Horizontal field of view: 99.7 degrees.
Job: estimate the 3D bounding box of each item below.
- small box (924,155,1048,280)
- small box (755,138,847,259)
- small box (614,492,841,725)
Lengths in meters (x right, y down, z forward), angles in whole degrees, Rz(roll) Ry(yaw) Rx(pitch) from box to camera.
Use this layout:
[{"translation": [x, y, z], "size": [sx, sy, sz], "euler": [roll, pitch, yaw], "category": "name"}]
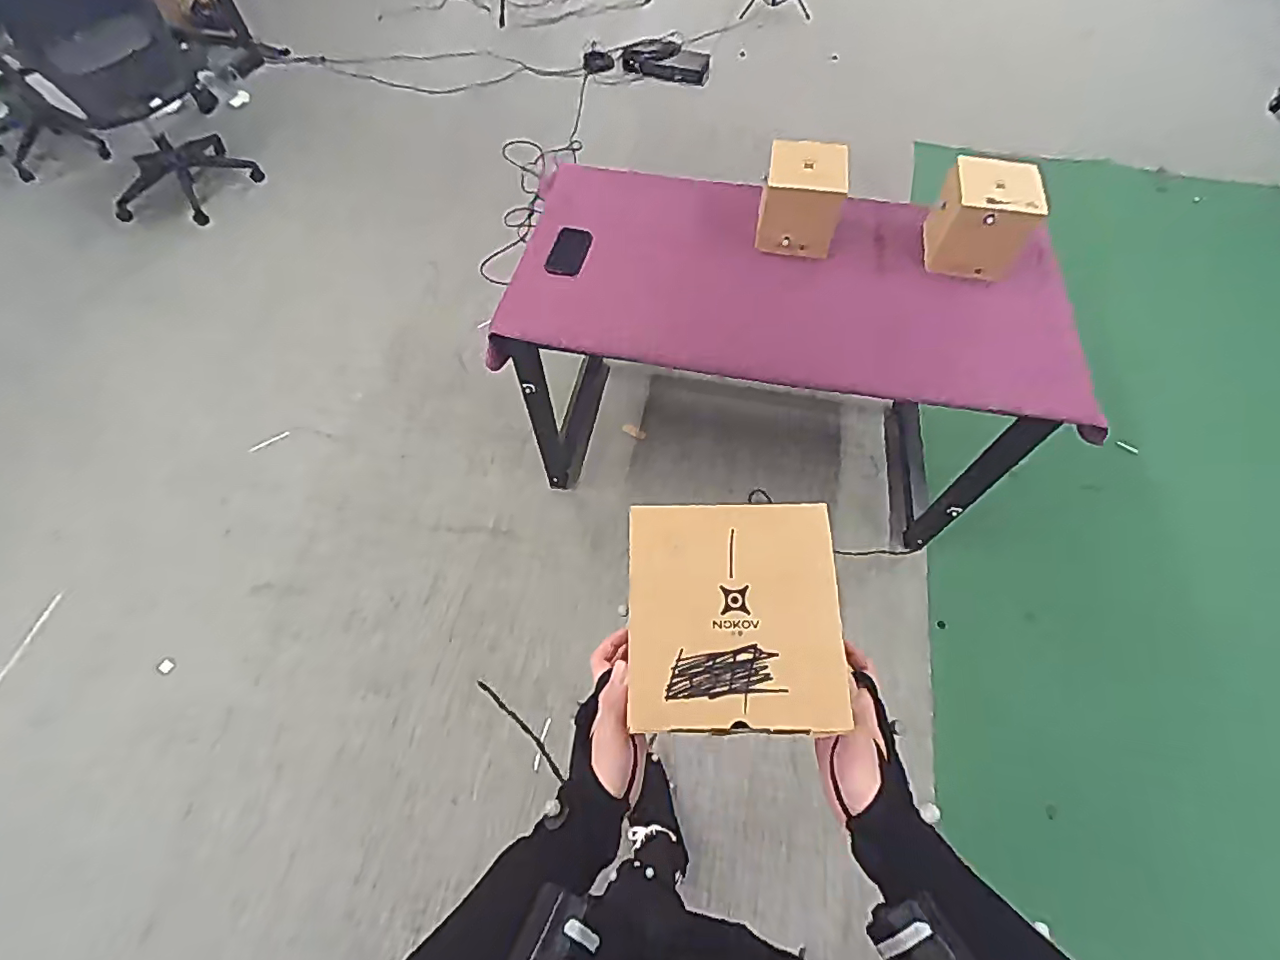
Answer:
[{"translation": [0.740, -0.570, 1.179], "size": [0.168, 0.176, 0.179], "euler": [10, 60, 8], "category": "small box"}, {"translation": [0.358, -0.634, 1.223], "size": [0.168, 0.176, 0.179], "euler": [9, 61, 7], "category": "small box"}, {"translation": [0.068, 0.118, 0.490], "size": [0.168, 0.176, 0.179], "euler": [-1, 70, 2], "category": "small box"}]
